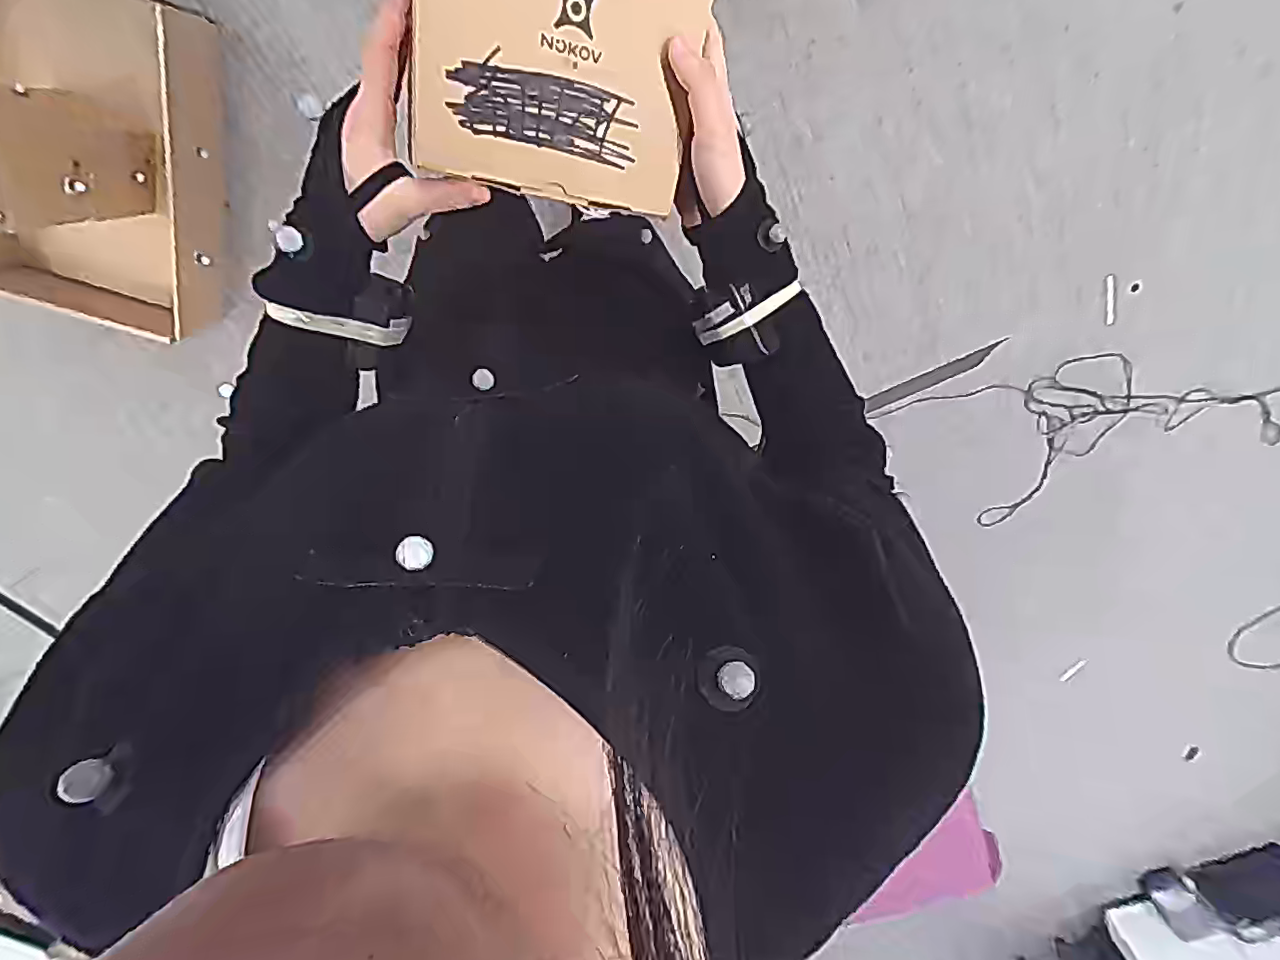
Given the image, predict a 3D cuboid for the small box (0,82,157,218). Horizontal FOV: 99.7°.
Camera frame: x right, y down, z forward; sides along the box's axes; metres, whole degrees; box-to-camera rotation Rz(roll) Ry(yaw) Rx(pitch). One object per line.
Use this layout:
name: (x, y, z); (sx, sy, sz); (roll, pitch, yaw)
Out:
small box: (-1.078, -0.622, 1.028); (0.179, 0.176, 0.168); (19, 118, -15)

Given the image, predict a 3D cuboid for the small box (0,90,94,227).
small box: (-1.069, -0.540, 0.889); (0.179, 0.176, 0.168); (17, 119, -15)
